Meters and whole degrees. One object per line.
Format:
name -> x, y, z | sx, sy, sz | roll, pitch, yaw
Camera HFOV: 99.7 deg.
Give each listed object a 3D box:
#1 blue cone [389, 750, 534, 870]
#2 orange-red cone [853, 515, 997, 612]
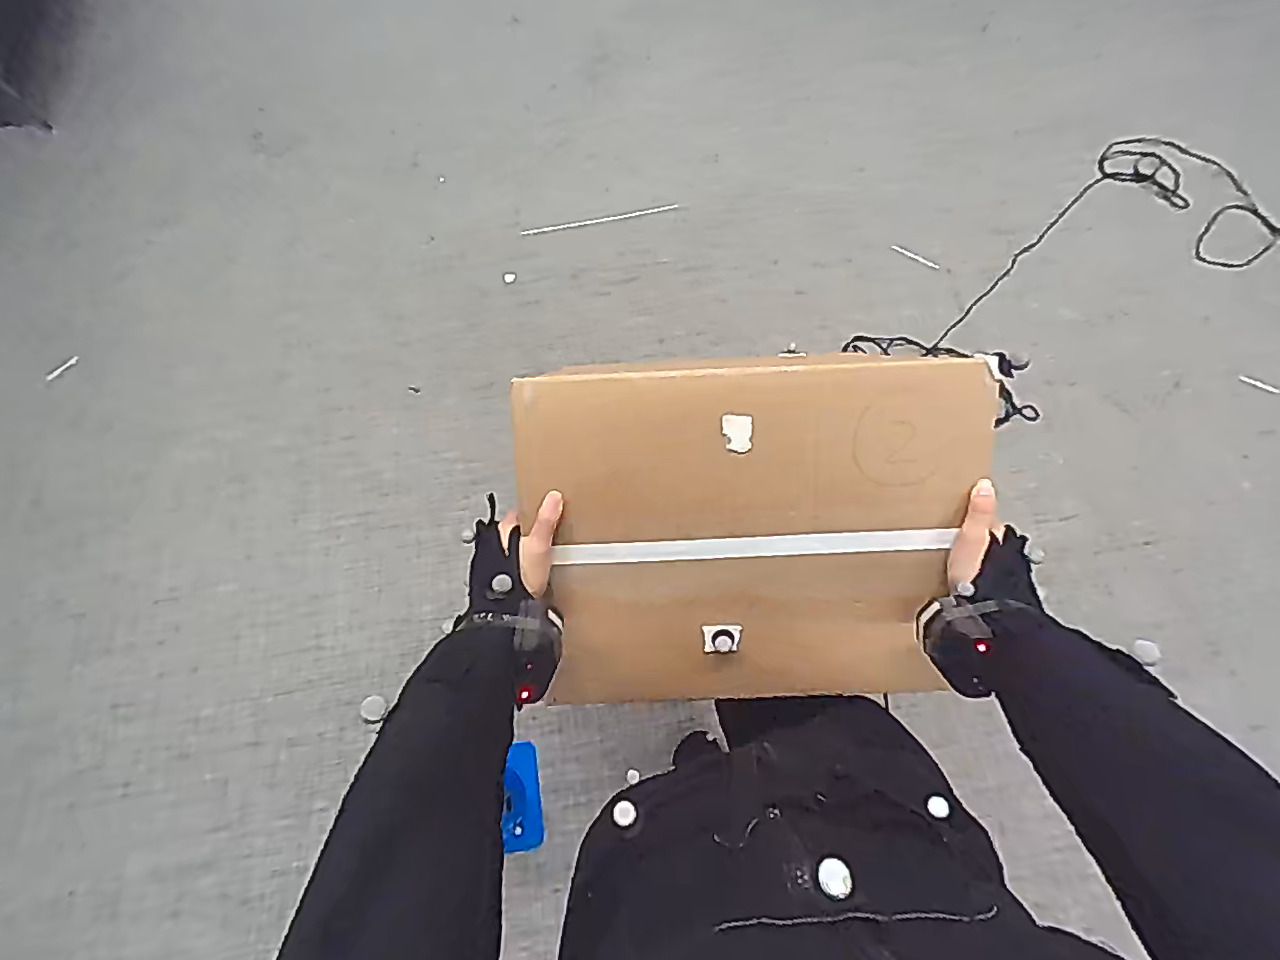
blue cone -> -0.324, 0.605, 0.952 | 0.192, 0.380, 0.193 | -9, 69, 0
orange-red cone -> 0.582, 0.130, 1.058 | 0.199, 0.360, 0.198 | 10, 72, 5
